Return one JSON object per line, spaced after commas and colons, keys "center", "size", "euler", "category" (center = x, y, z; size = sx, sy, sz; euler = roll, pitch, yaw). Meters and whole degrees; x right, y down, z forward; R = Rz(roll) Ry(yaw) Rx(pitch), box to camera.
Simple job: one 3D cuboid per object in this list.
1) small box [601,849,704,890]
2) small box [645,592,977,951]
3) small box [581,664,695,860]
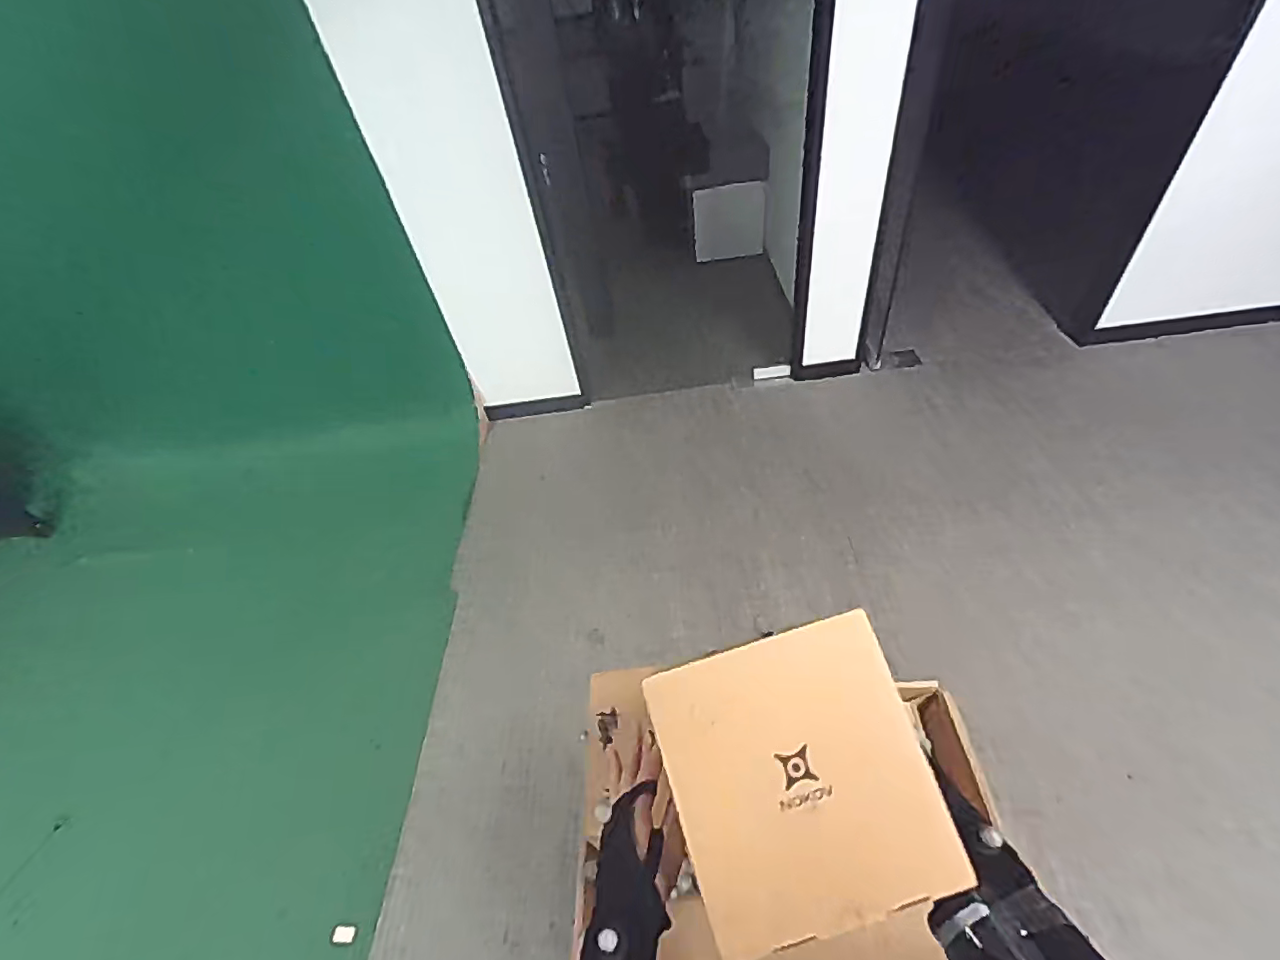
{"center": [0.047, 0.445, 0.738], "size": [0.168, 0.176, 0.179], "euler": [-6, 46, 6], "category": "small box"}
{"center": [0.106, 0.202, 0.423], "size": [0.168, 0.176, 0.179], "euler": [-17, 73, -1], "category": "small box"}
{"center": [0.038, 0.326, 0.626], "size": [0.179, 0.176, 0.168], "euler": [-6, 45, 5], "category": "small box"}
